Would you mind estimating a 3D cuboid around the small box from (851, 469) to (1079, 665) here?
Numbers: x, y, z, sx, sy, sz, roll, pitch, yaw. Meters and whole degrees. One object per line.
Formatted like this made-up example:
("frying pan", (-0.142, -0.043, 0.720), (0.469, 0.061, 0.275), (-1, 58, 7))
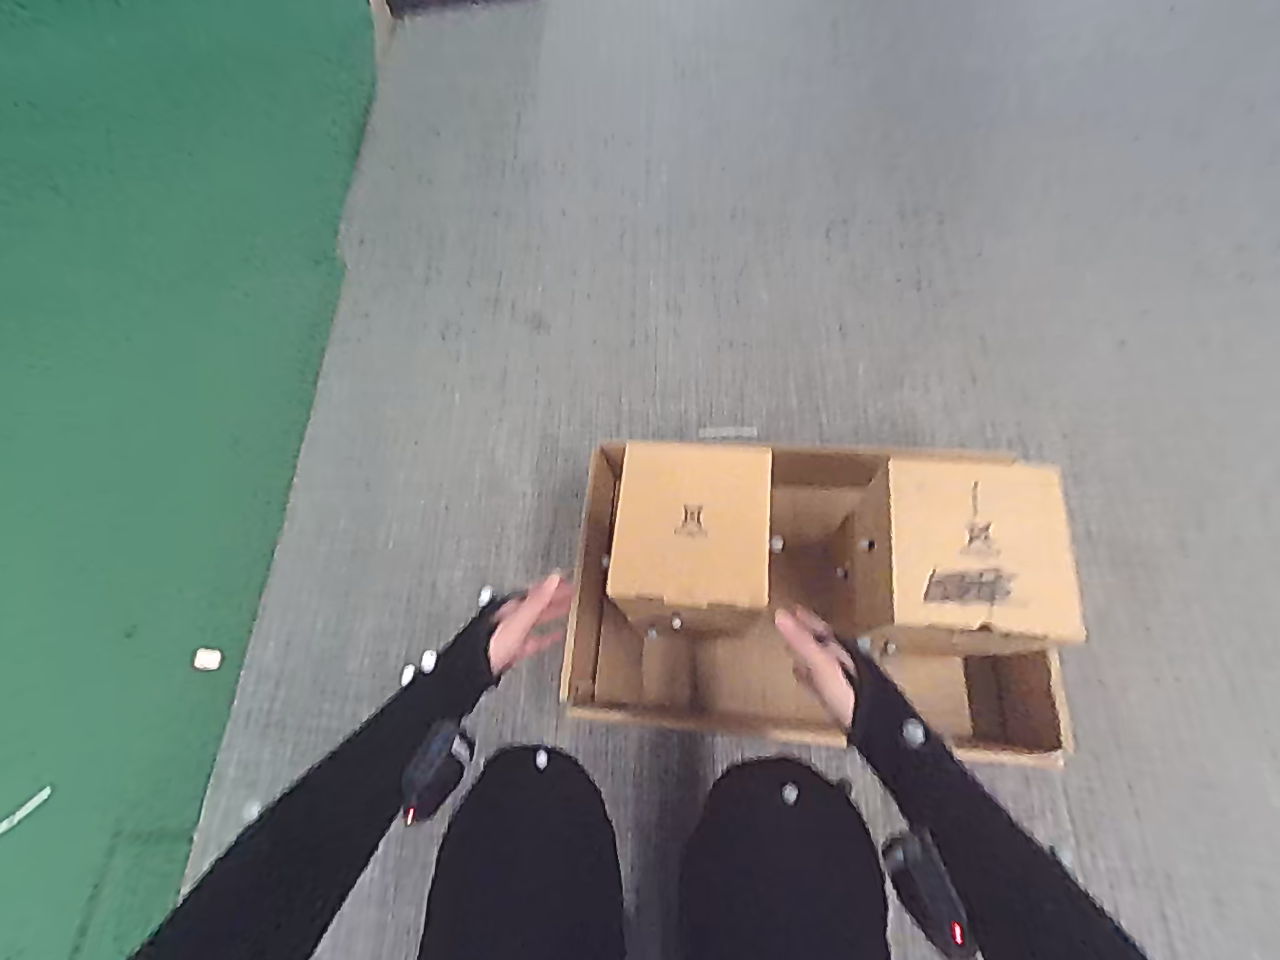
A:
("small box", (0.341, 0.104, 0.607), (0.168, 0.176, 0.179), (4, 67, 10))
